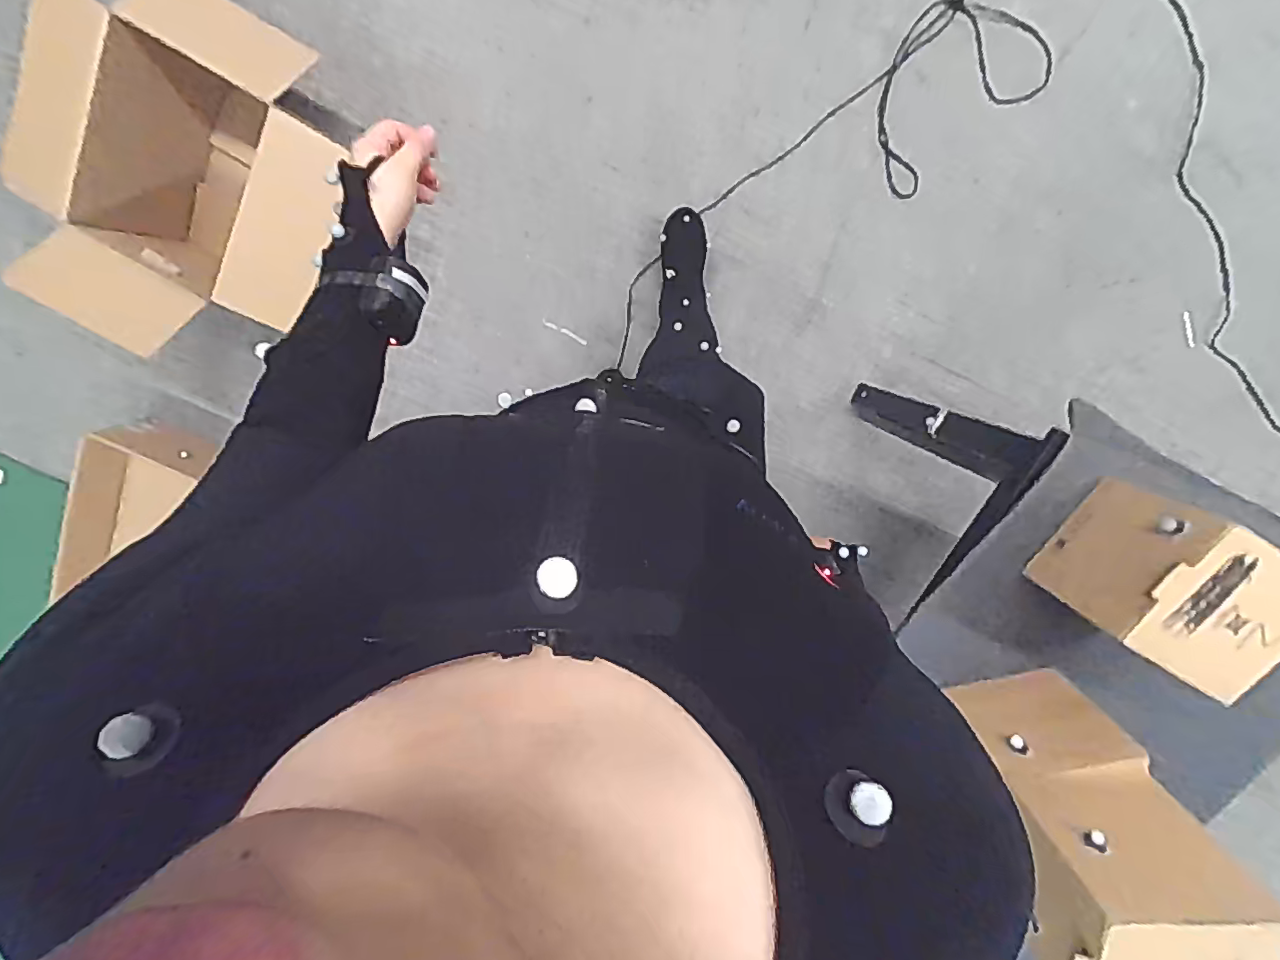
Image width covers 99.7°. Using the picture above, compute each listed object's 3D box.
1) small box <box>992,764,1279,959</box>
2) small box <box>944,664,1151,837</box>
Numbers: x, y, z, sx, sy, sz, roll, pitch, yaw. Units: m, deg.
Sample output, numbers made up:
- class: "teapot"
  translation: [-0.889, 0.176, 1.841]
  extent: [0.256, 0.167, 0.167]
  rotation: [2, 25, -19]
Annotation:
- class: "small box"
  translation: [0.531, 0.444, 0.600]
  extent: [0.179, 0.176, 0.168]
  rotation: [-4, 108, 2]
- class: "small box"
  translation: [0.549, 0.385, 0.751]
  extent: [0.179, 0.176, 0.168]
  rotation: [-15, 107, 6]
